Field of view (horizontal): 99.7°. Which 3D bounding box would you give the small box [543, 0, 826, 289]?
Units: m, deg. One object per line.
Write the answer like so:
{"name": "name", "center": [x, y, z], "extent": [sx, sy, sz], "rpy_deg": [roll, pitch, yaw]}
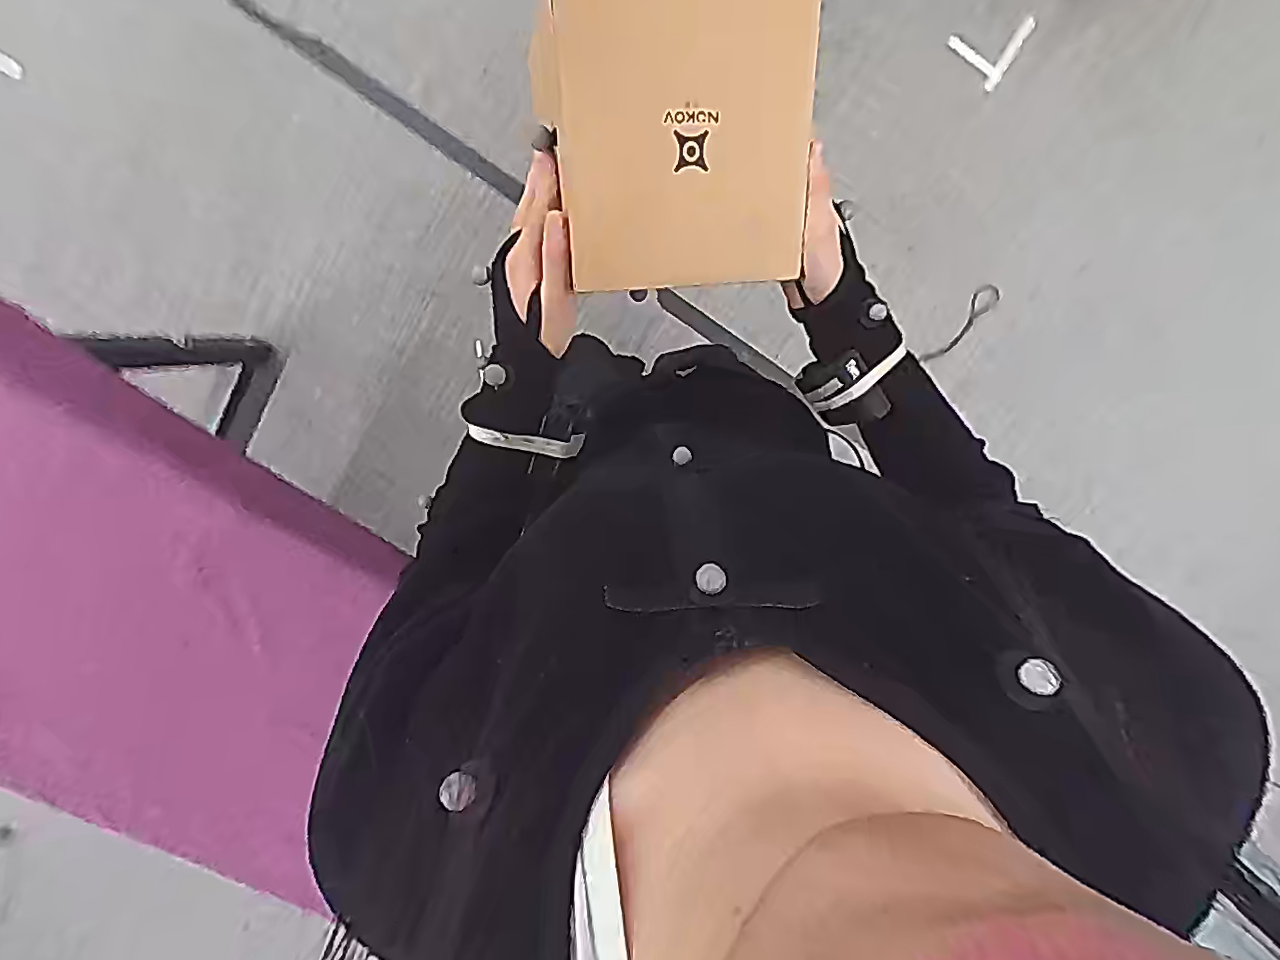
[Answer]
{"name": "small box", "center": [0.018, -0.250, 0.418], "extent": [0.168, 0.176, 0.179], "rpy_deg": [-7, 114, -11]}
